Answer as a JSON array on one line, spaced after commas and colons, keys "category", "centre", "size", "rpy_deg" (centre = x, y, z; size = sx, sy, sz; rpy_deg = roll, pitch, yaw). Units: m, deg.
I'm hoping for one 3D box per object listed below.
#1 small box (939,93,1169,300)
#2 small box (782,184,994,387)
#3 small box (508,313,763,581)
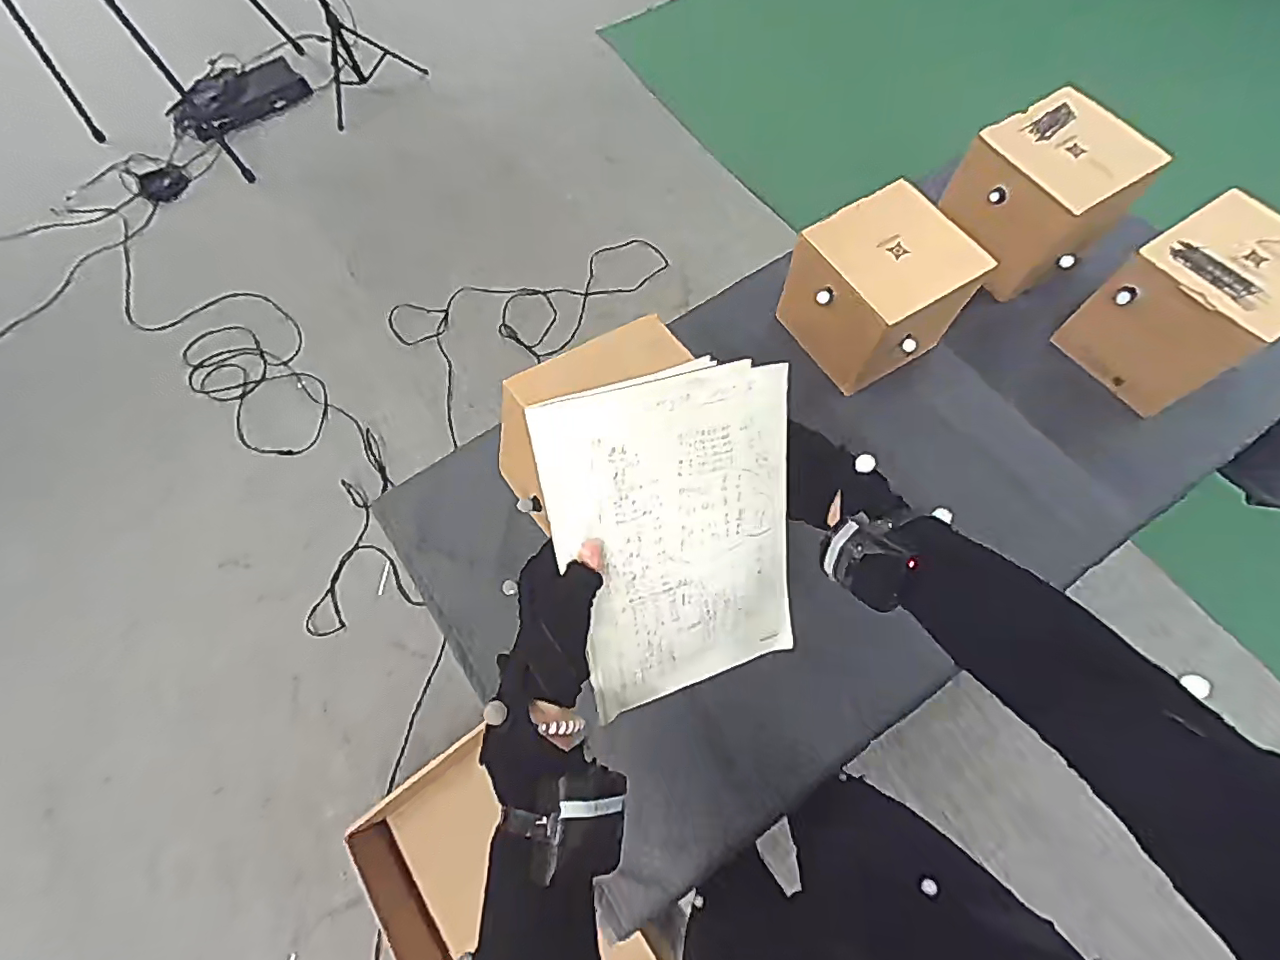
[{"category": "small box", "centre": [0.566, -0.399, 0.779], "size": [0.168, 0.176, 0.179], "rpy_deg": [-30, 70, -7]}, {"category": "small box", "centre": [0.320, -0.251, 0.740], "size": [0.168, 0.176, 0.179], "rpy_deg": [-30, 69, -8]}, {"category": "small box", "centre": [-0.018, -0.029, 0.543], "size": [0.179, 0.176, 0.168], "rpy_deg": [-31, 72, -28]}]
